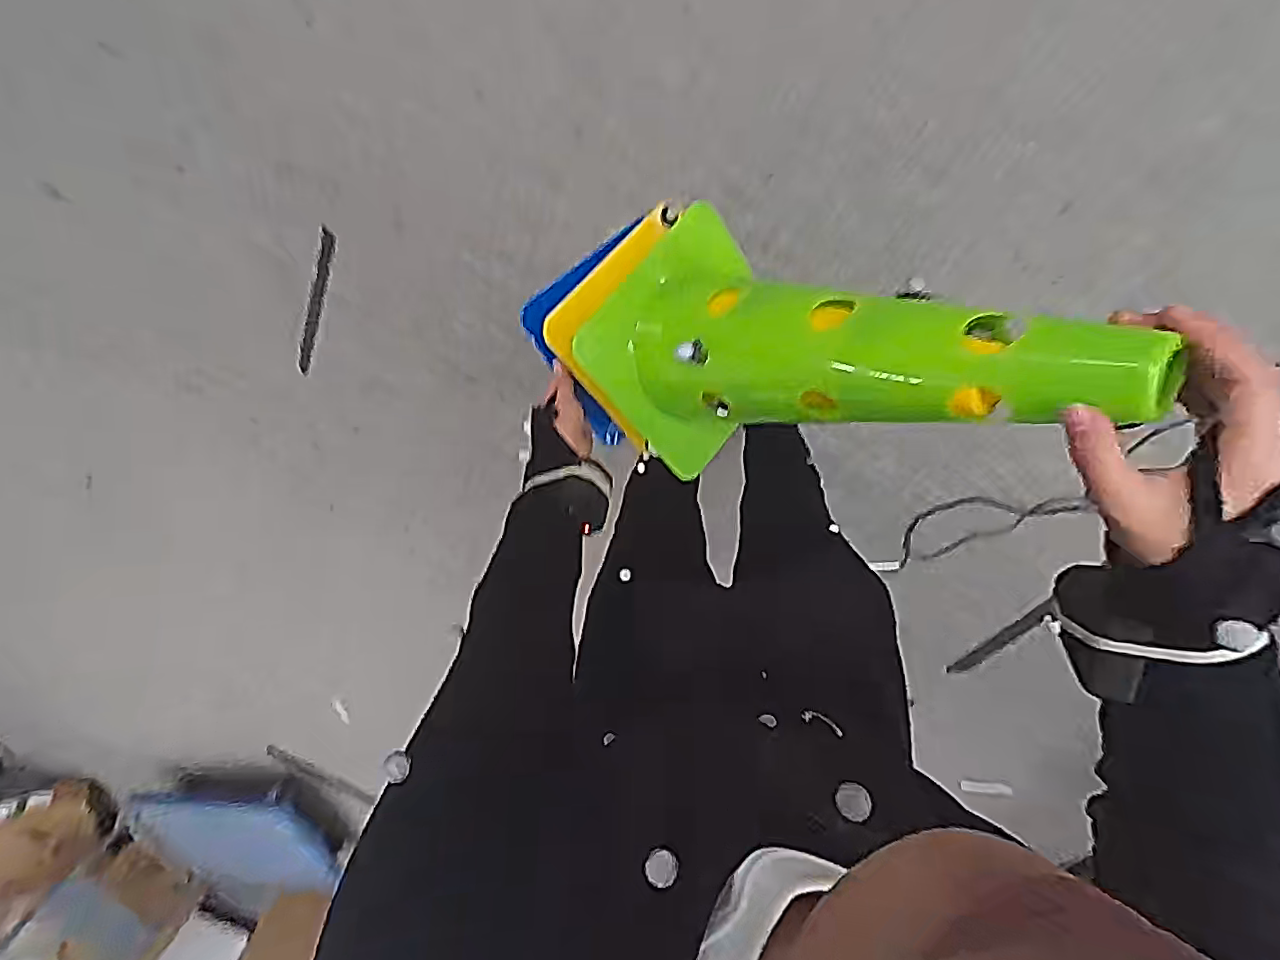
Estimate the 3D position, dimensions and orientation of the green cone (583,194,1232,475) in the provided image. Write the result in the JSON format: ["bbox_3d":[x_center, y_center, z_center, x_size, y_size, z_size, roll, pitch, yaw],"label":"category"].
[{"bbox_3d":[0.149,-0.087,0.374,0.202,0.368,0.200,-50,123,-9],"label":"green cone"}]
